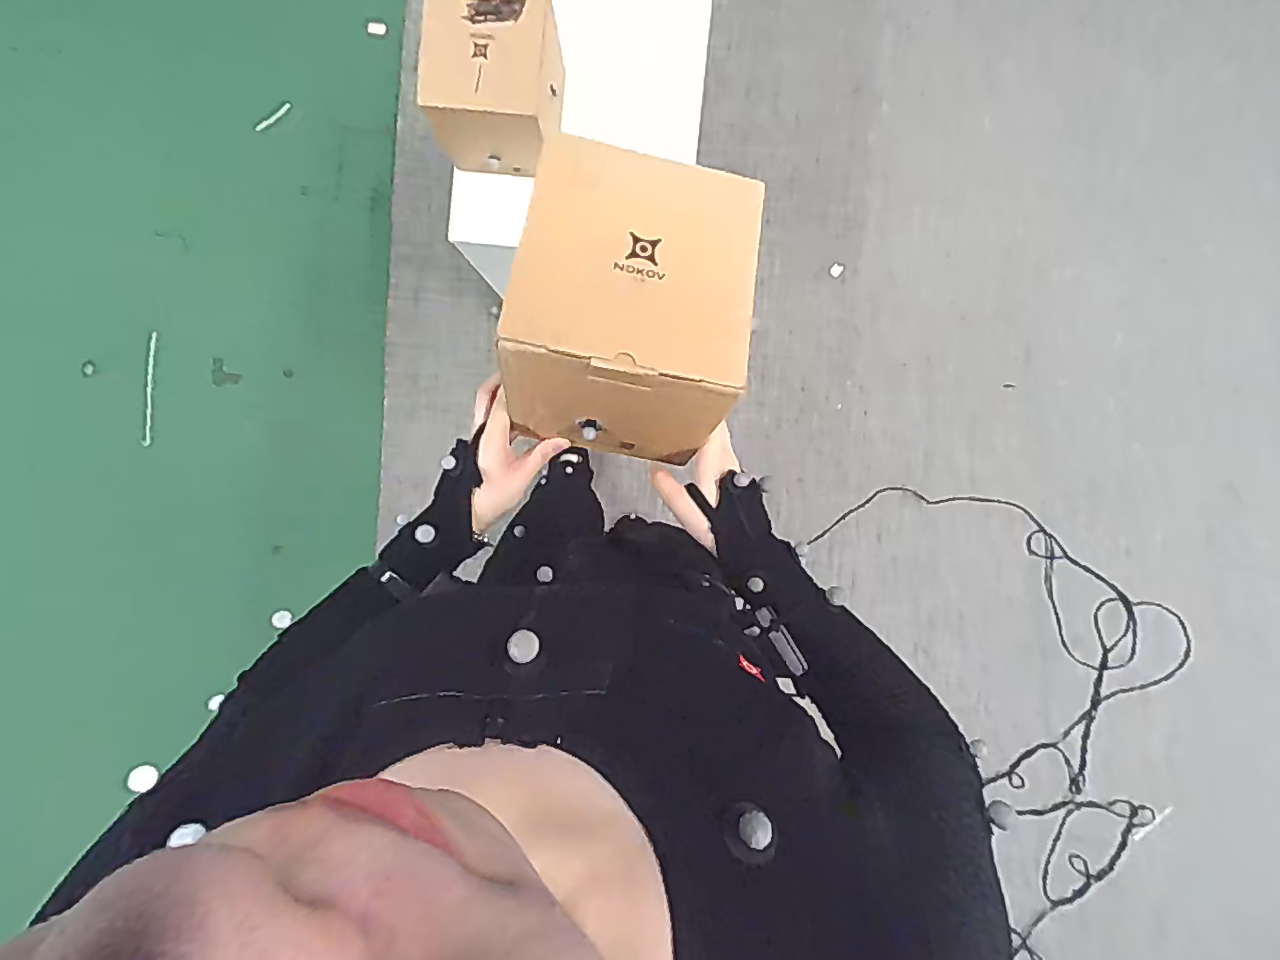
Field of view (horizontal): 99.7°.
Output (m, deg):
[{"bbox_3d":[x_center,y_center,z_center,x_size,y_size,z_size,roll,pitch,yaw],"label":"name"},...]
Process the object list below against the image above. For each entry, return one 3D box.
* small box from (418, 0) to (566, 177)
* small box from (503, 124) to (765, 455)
[{"bbox_3d":[-0.207,-0.586,0.799,0.168,0.176,0.179,6,93,0],"label":"small box"},{"bbox_3d":[-0.010,-0.139,0.451,0.168,0.176,0.179,11,74,-7],"label":"small box"}]
